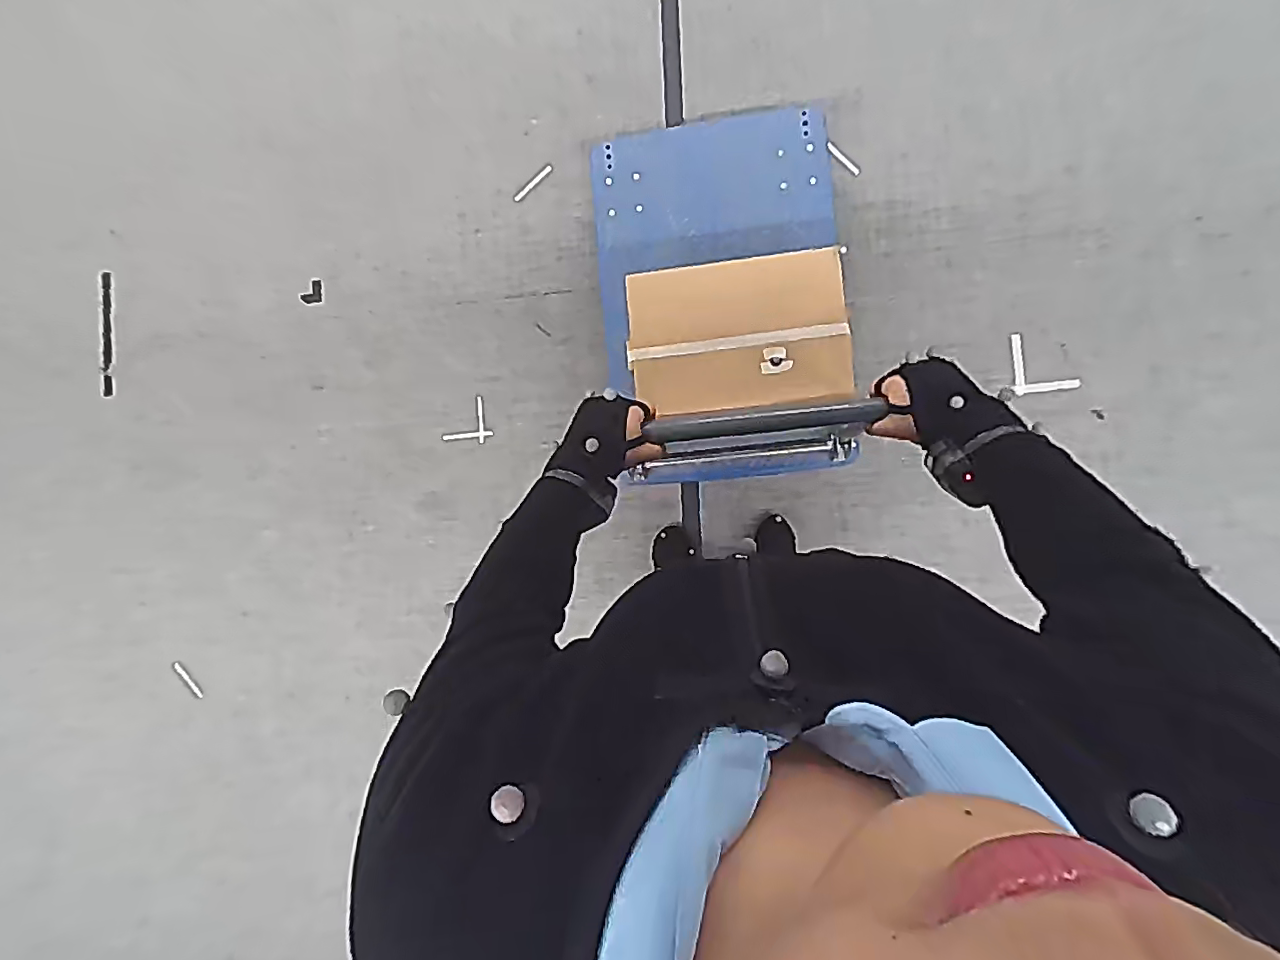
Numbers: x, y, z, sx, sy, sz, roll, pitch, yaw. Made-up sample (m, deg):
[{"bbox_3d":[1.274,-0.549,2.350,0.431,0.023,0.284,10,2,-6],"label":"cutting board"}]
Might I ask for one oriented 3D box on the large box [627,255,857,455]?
[{"bbox_3d":[0.201,-0.237,1.156,0.408,0.320,0.320,-6,89,6],"label":"large box"}]
